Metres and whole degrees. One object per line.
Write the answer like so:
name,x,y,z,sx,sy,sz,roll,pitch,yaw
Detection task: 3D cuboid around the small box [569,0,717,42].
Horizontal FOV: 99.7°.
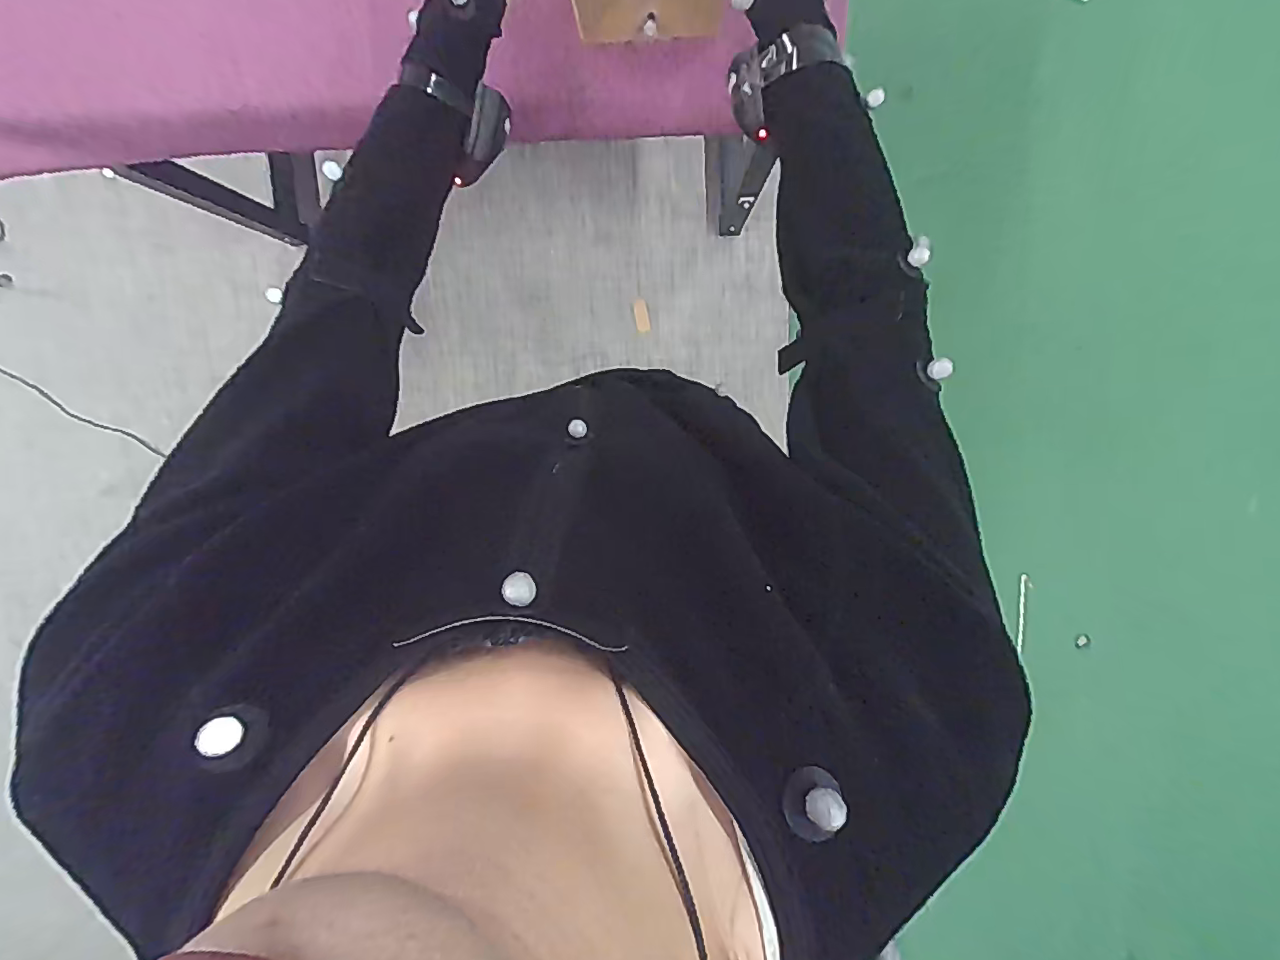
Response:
small box,0.003,-0.620,0.587,0.179,0.176,0.168,-2,99,2
